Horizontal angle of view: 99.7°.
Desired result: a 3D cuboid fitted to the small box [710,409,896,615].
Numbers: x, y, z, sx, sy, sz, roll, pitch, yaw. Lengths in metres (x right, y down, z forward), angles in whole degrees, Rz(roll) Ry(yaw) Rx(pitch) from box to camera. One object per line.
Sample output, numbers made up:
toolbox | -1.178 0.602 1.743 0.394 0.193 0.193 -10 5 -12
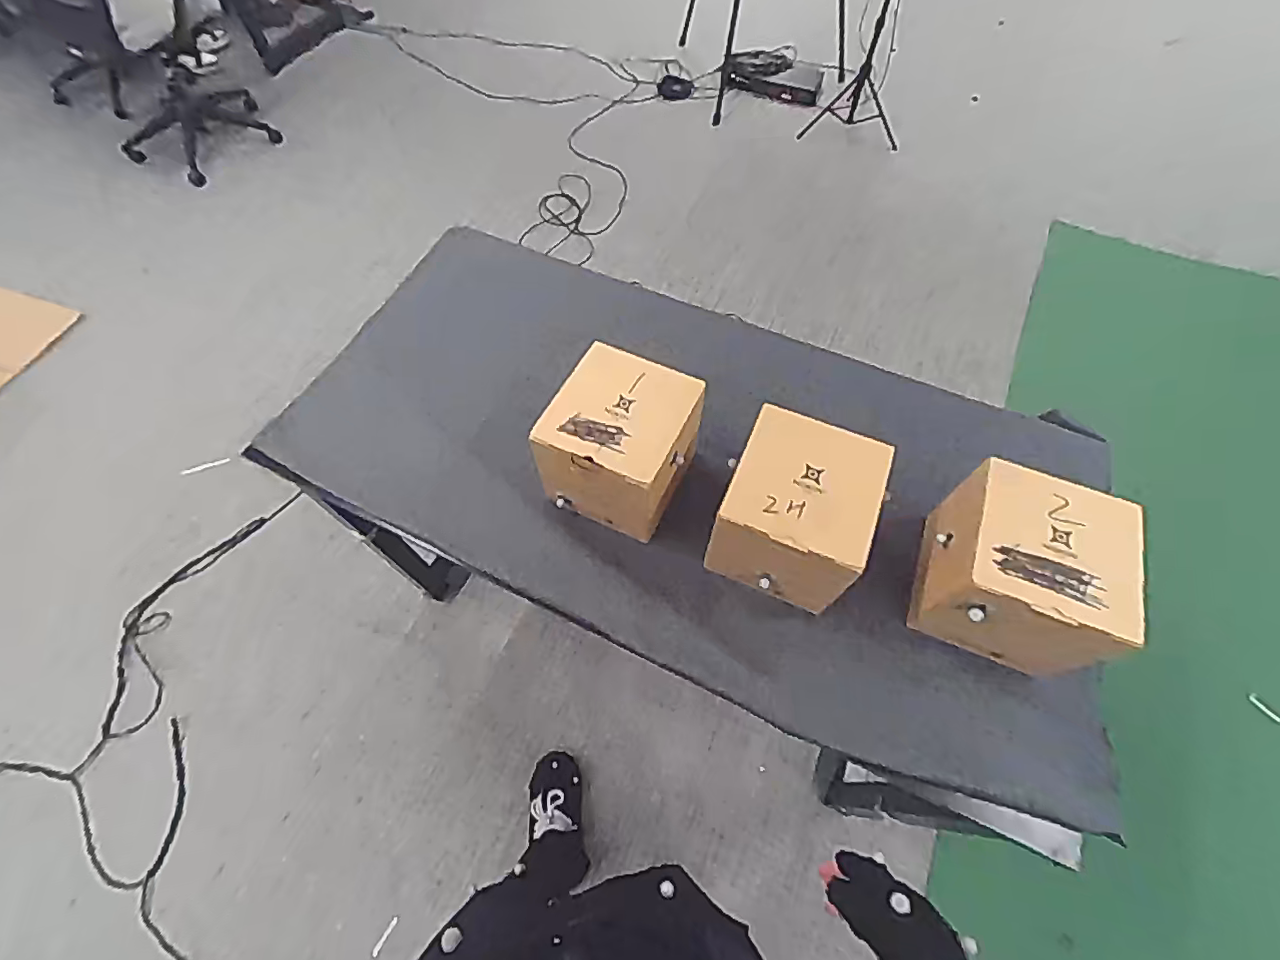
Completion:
small box | 0.199 0.046 0.695 0.168 0.176 0.179 22 62 12

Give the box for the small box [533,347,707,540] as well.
small box | -0.022 -0.043 0.745 0.168 0.176 0.179 23 62 11
